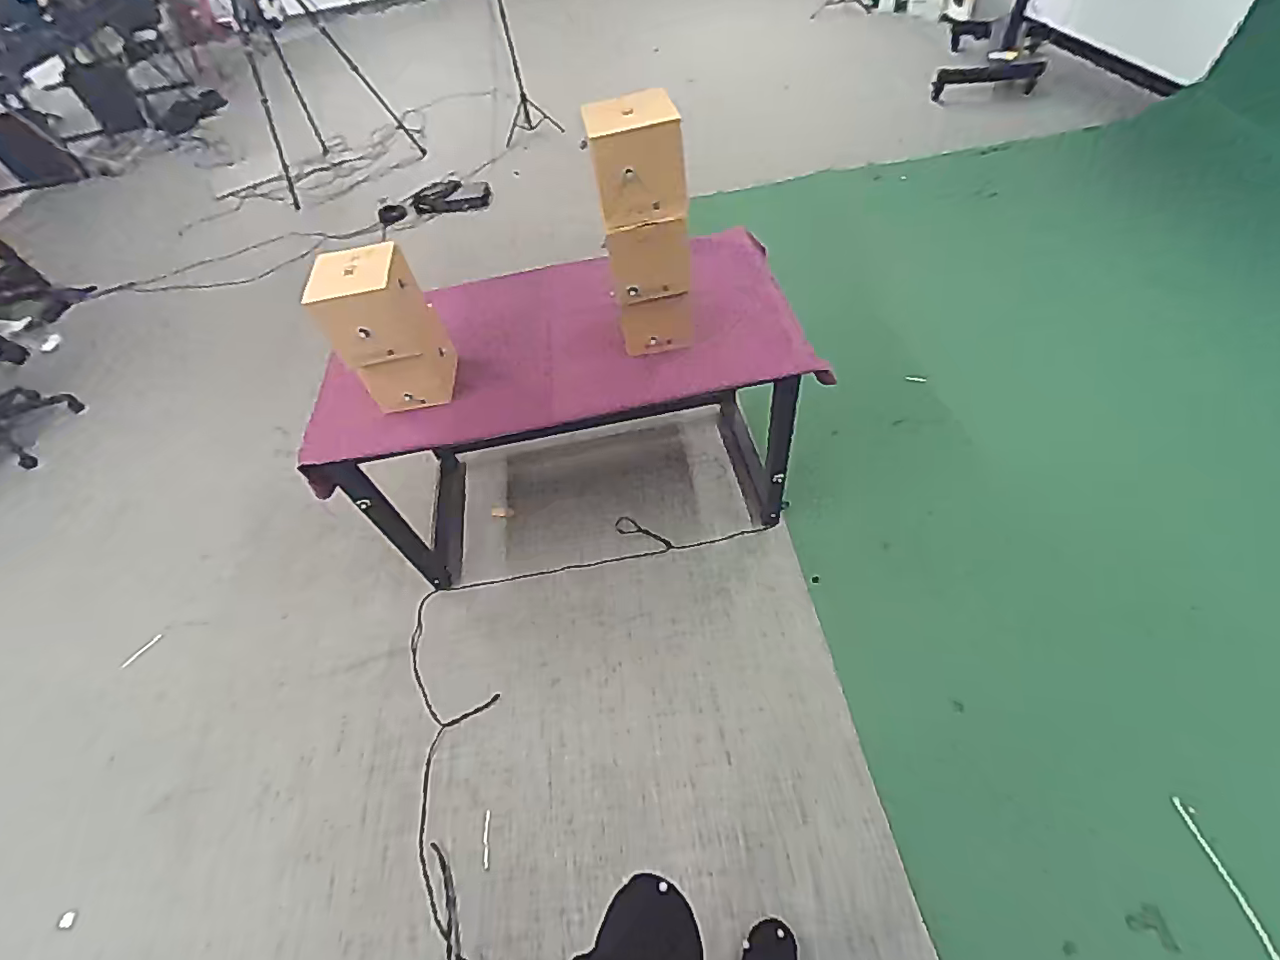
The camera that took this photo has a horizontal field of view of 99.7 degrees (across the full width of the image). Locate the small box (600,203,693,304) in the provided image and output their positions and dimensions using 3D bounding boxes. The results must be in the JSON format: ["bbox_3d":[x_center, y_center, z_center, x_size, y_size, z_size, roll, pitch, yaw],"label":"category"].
[{"bbox_3d":[0.016,-0.499,1.169,0.168,0.176,0.179,-11,50,2],"label":"small box"}]

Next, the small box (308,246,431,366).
[{"bbox_3d":[-0.562,-0.361,1.149,0.168,0.176,0.179,-10,53,0],"label":"small box"}]

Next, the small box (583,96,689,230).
[{"bbox_3d":[-0.006,-0.606,1.050,0.168,0.176,0.179,-13,50,1],"label":"small box"}]

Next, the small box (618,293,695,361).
[{"bbox_3d":[0.037,-0.415,1.310,0.168,0.176,0.179,-10,52,3],"label":"small box"}]
